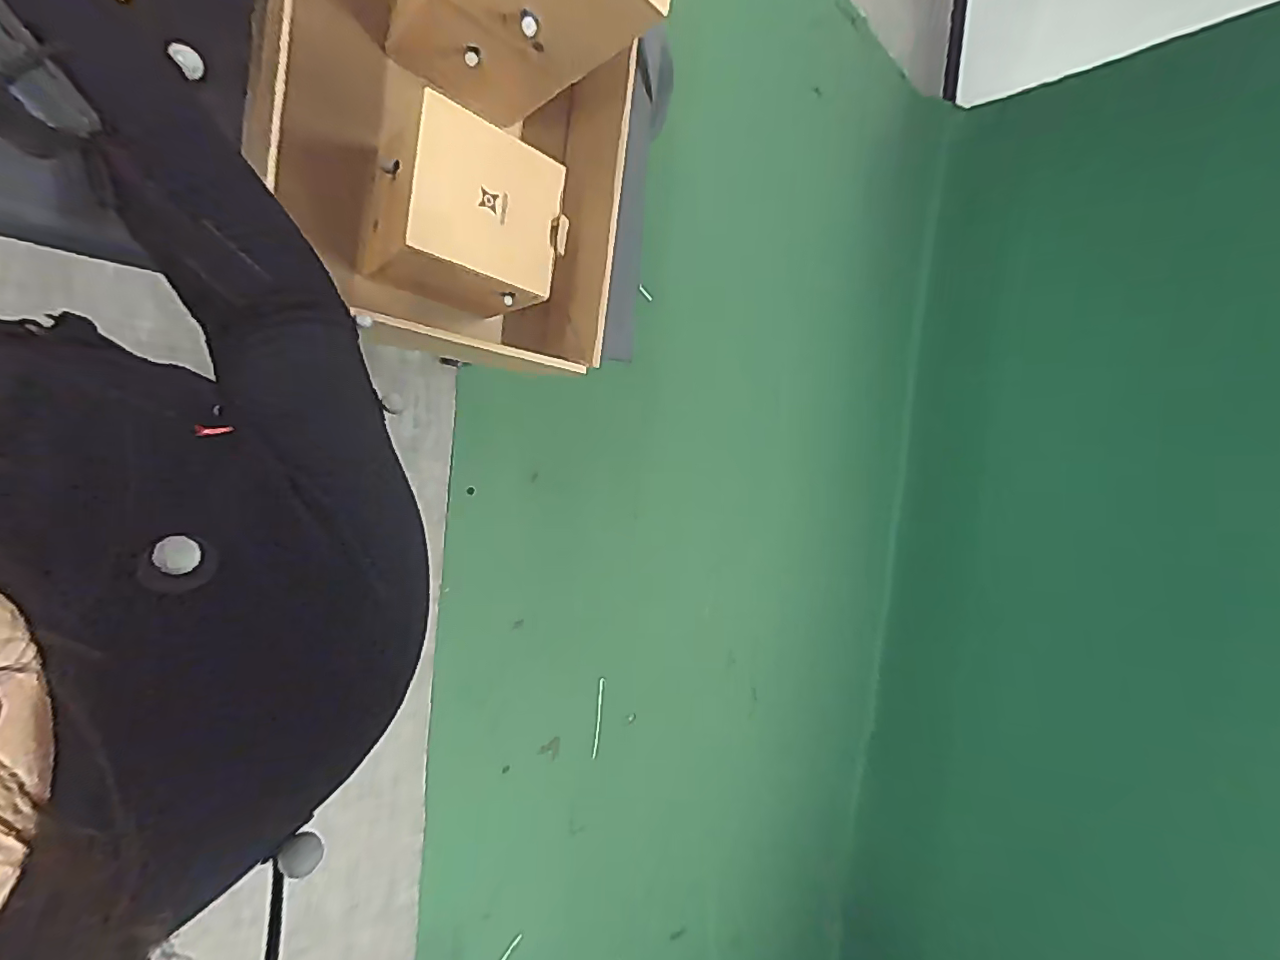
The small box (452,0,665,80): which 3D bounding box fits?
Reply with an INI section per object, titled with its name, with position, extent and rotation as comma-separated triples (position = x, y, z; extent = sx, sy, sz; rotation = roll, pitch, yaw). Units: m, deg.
[small box]
position = -0.079, -0.558, 0.537
extent = 0.168, 0.176, 0.179
rotation = 6, 94, -43
